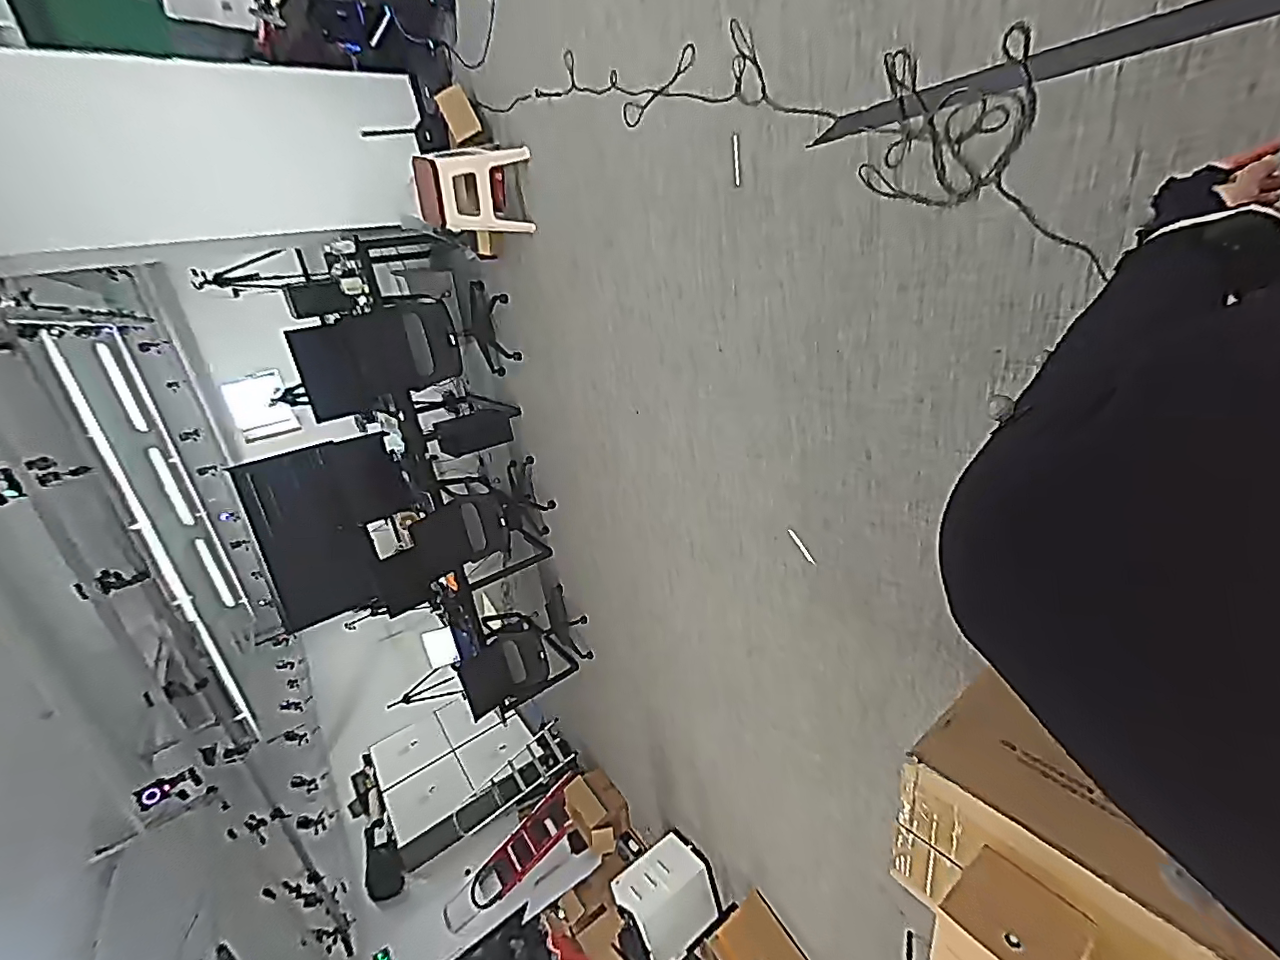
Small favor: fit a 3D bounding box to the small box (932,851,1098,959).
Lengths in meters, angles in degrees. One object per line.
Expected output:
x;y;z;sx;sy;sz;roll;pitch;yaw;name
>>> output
0.634;0.792;0.920;0.179;0.176;0.168;24;128;51;small box
